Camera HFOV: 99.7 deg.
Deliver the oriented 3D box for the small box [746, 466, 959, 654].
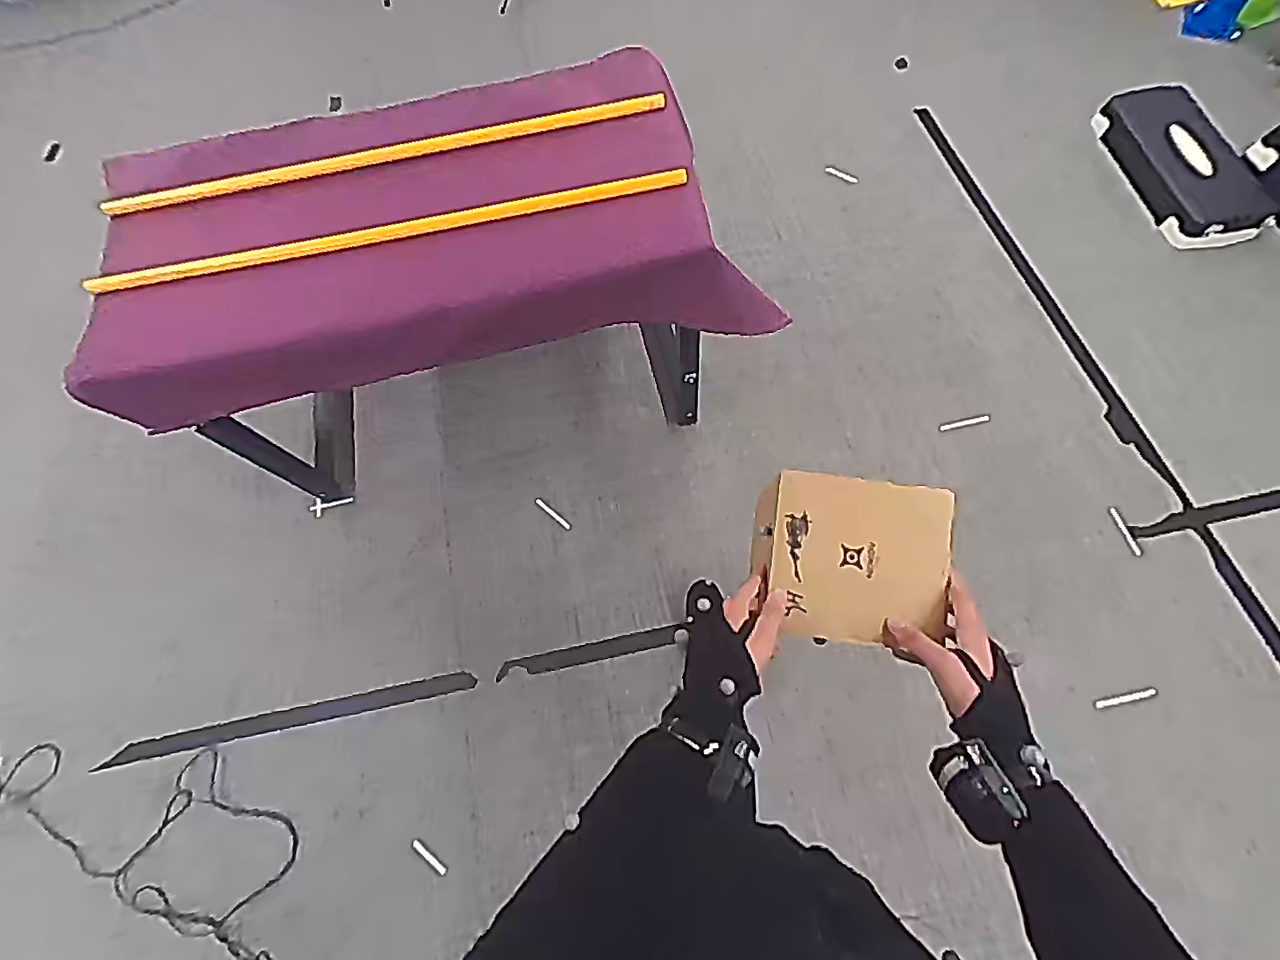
[{"bbox_3d":[0.227,0.088,0.615,0.179,0.176,0.168,8,81,5],"label":"small box"}]
